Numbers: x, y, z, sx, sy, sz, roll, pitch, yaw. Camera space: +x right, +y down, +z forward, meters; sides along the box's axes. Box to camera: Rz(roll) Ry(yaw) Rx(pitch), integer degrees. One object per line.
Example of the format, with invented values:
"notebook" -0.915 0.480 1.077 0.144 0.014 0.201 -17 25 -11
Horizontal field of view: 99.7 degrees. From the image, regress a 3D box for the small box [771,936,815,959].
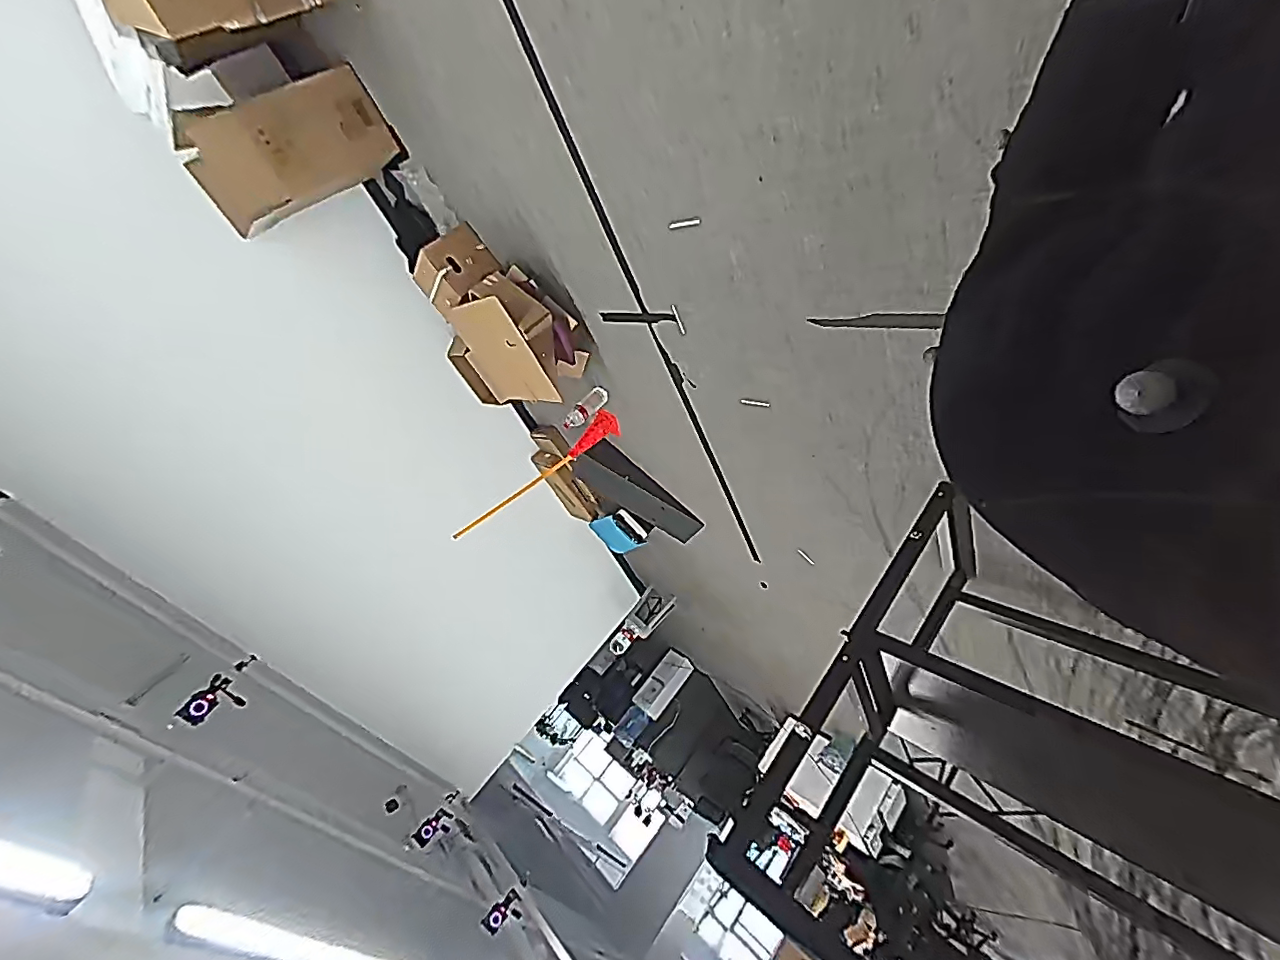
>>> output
"small box" 0.373 1.187 1.221 0.168 0.176 0.179 18 147 44
